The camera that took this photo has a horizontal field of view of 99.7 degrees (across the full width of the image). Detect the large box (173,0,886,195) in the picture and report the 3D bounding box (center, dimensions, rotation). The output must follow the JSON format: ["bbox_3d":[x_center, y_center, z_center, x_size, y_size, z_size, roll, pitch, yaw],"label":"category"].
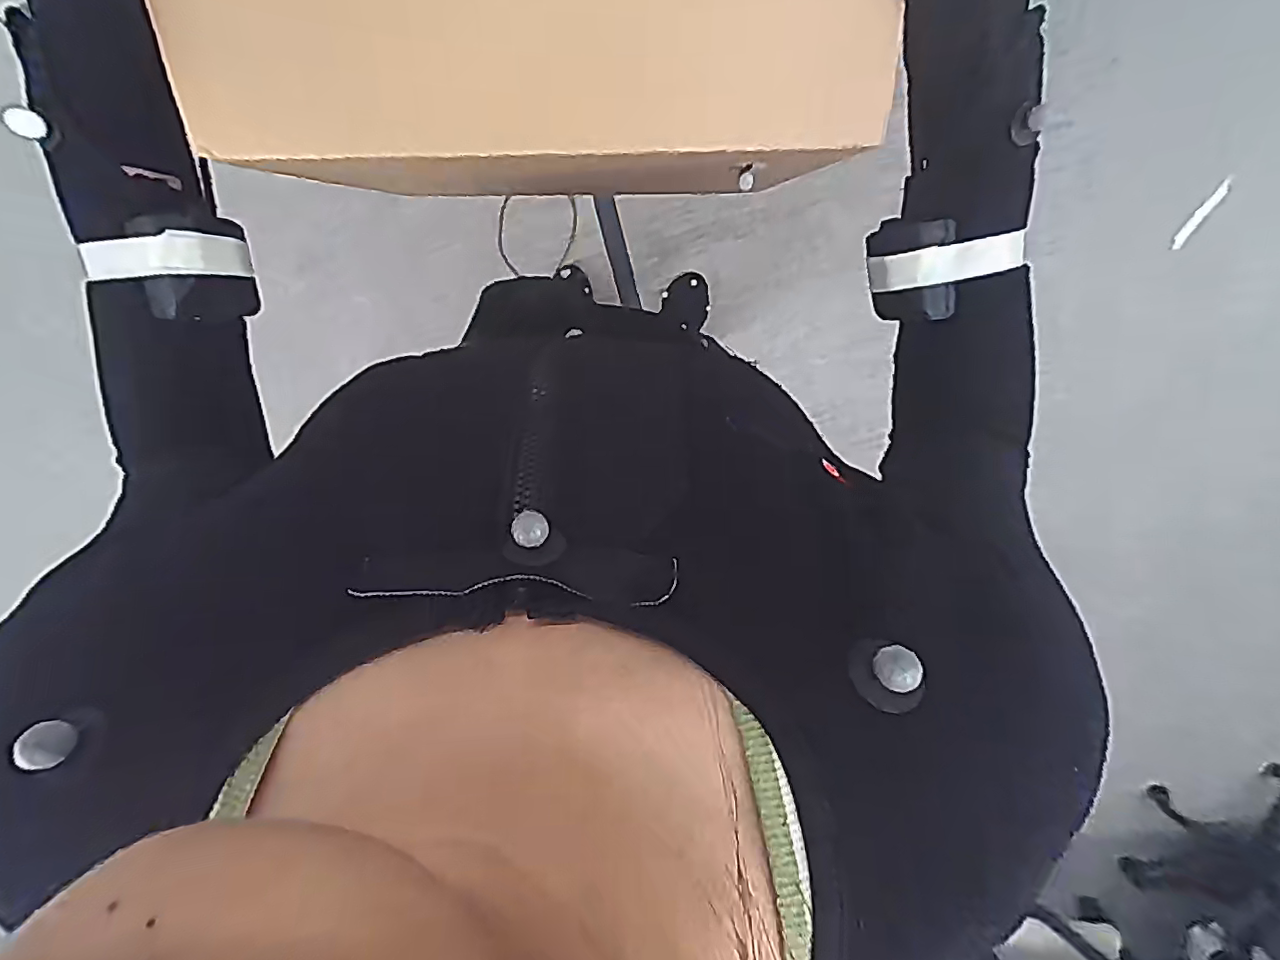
[{"bbox_3d":[-0.063,-0.401,0.405,0.408,0.320,0.320,-2,114,0],"label":"large box"}]
